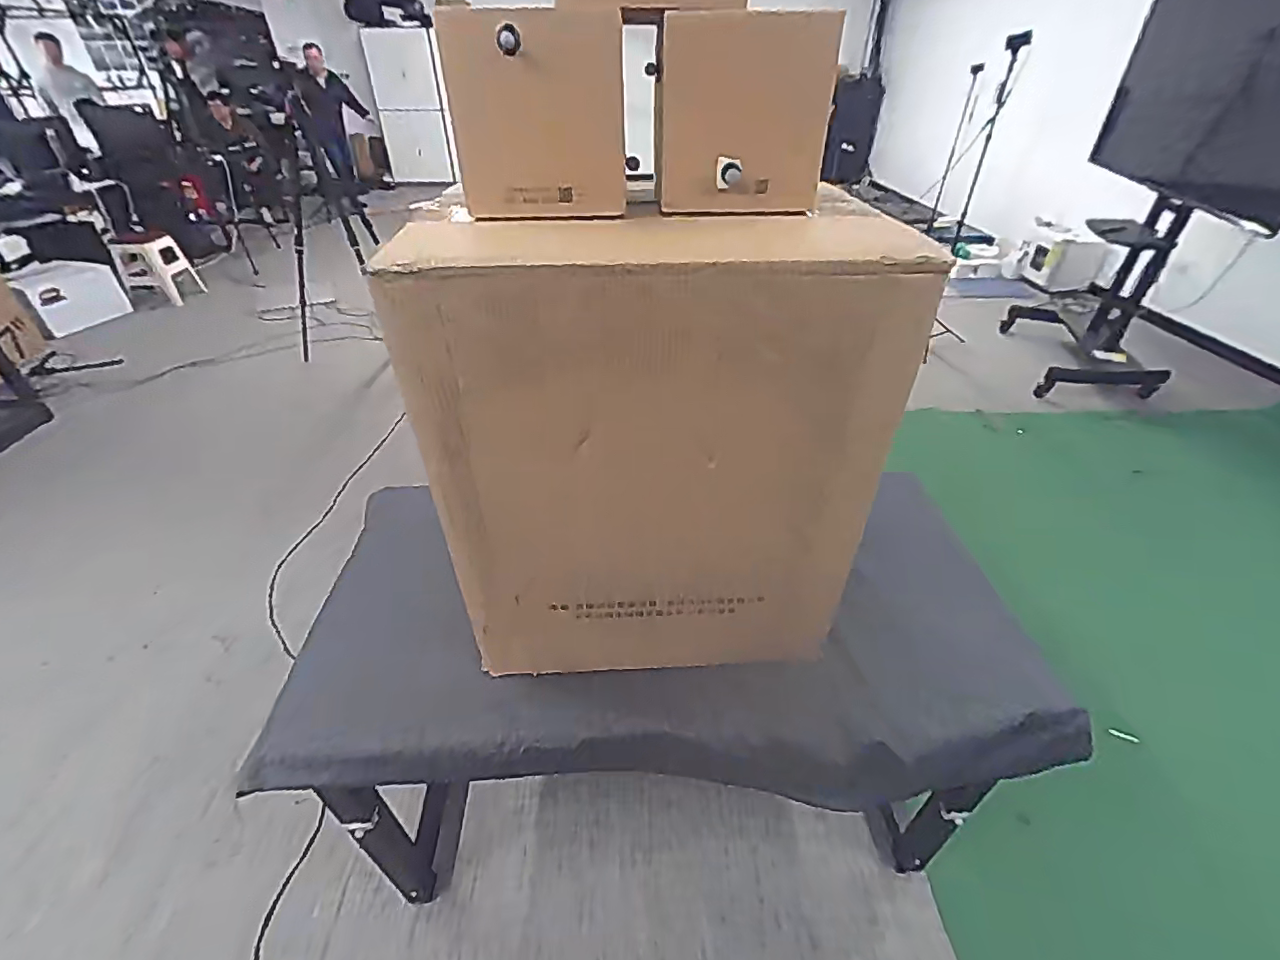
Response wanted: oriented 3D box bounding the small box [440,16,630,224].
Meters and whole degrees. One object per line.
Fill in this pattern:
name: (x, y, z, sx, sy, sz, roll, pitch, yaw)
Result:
small box: (-0.098, -0.387, 0.592, 0.168, 0.176, 0.179, -2, 35, 0)
